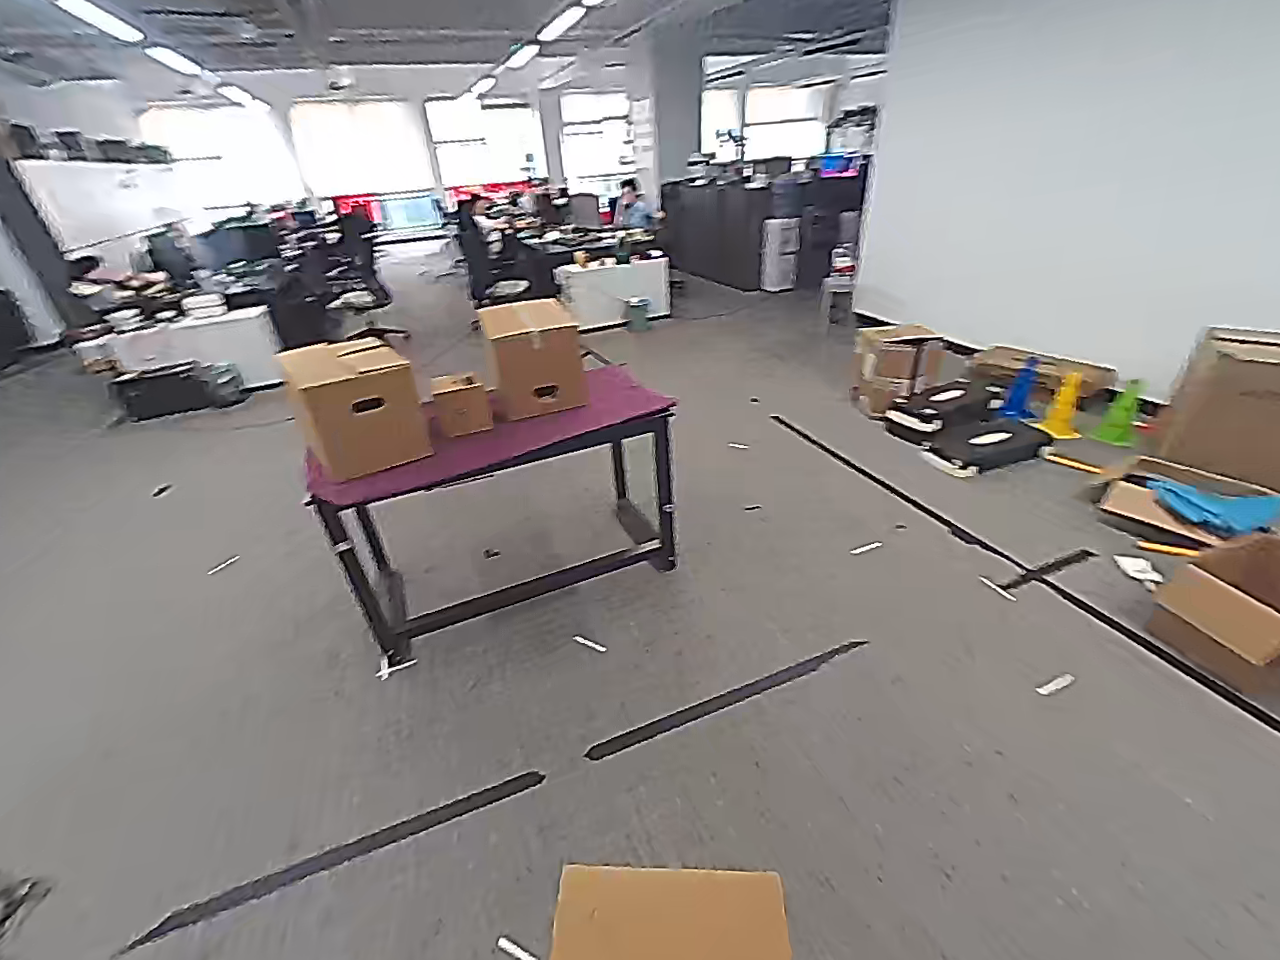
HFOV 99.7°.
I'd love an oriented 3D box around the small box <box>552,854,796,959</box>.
[{"bbox_3d":[0.025,0.400,0.387,0.168,0.176,0.179,-2,39,5],"label":"small box"}]
